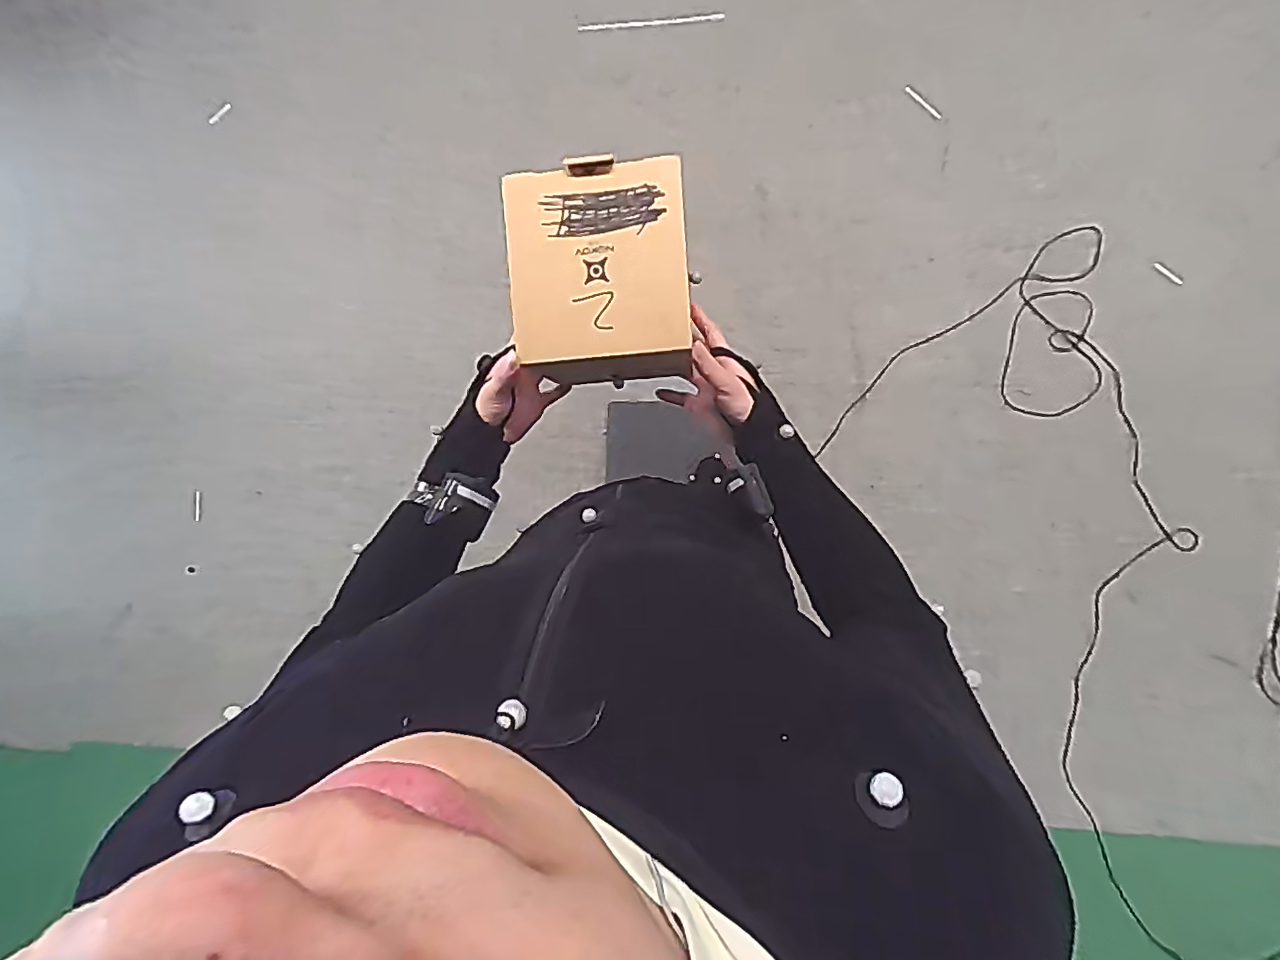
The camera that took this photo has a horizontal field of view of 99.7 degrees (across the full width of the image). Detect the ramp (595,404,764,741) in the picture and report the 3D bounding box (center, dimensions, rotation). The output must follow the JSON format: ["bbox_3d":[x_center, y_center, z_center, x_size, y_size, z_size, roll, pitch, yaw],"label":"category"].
[{"bbox_3d":[0.120,0.249,1.650,0.509,0.206,0.991,-1,89,7],"label":"ramp"}]
